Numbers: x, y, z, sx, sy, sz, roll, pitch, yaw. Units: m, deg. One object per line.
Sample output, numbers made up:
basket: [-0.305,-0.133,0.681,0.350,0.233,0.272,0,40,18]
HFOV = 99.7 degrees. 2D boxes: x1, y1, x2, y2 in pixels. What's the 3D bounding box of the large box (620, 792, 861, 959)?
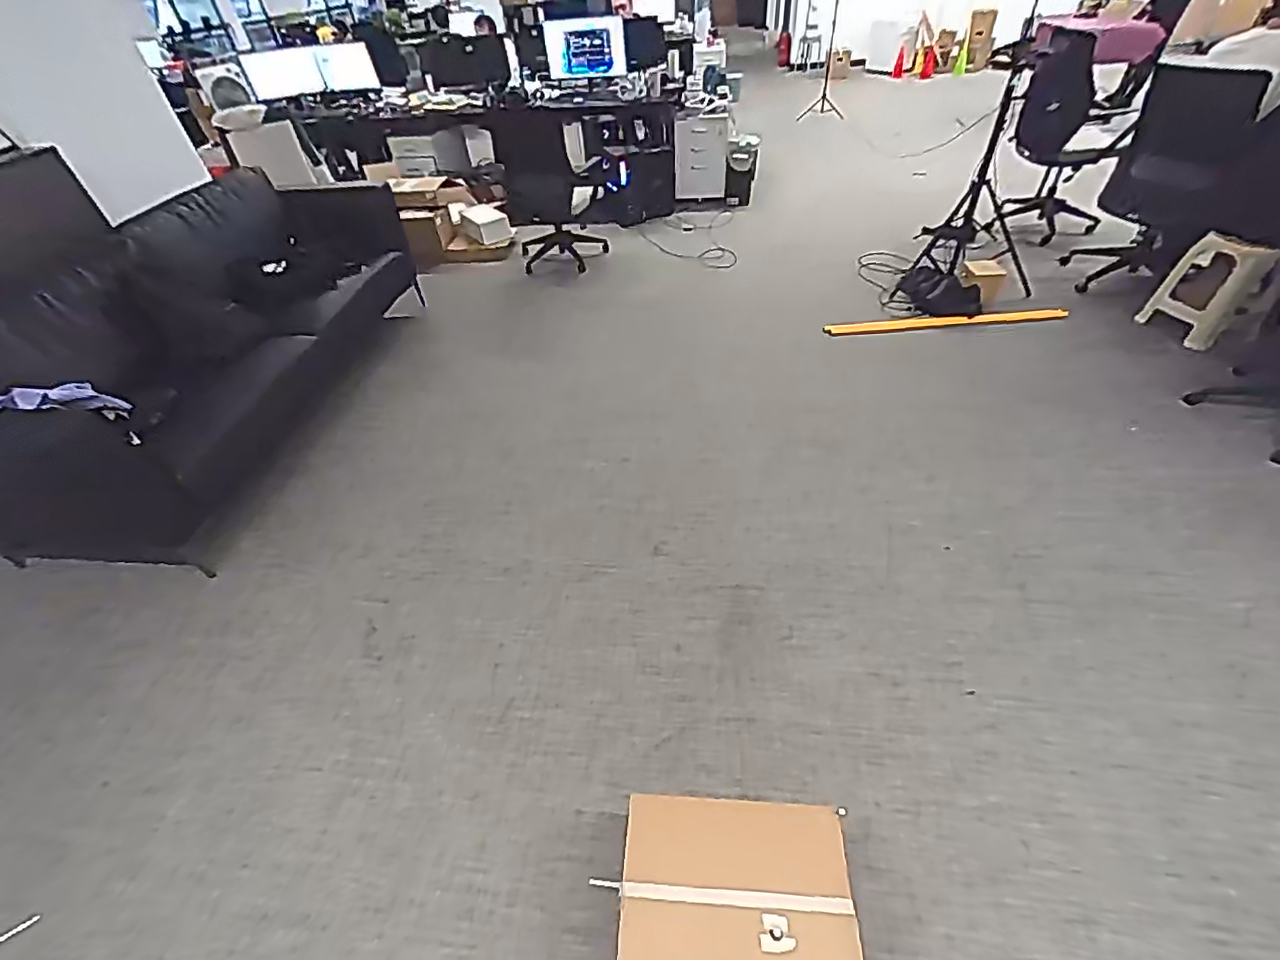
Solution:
large box: [0.180,0.839,1.057,0.408,0.320,0.320,0,44,6]
